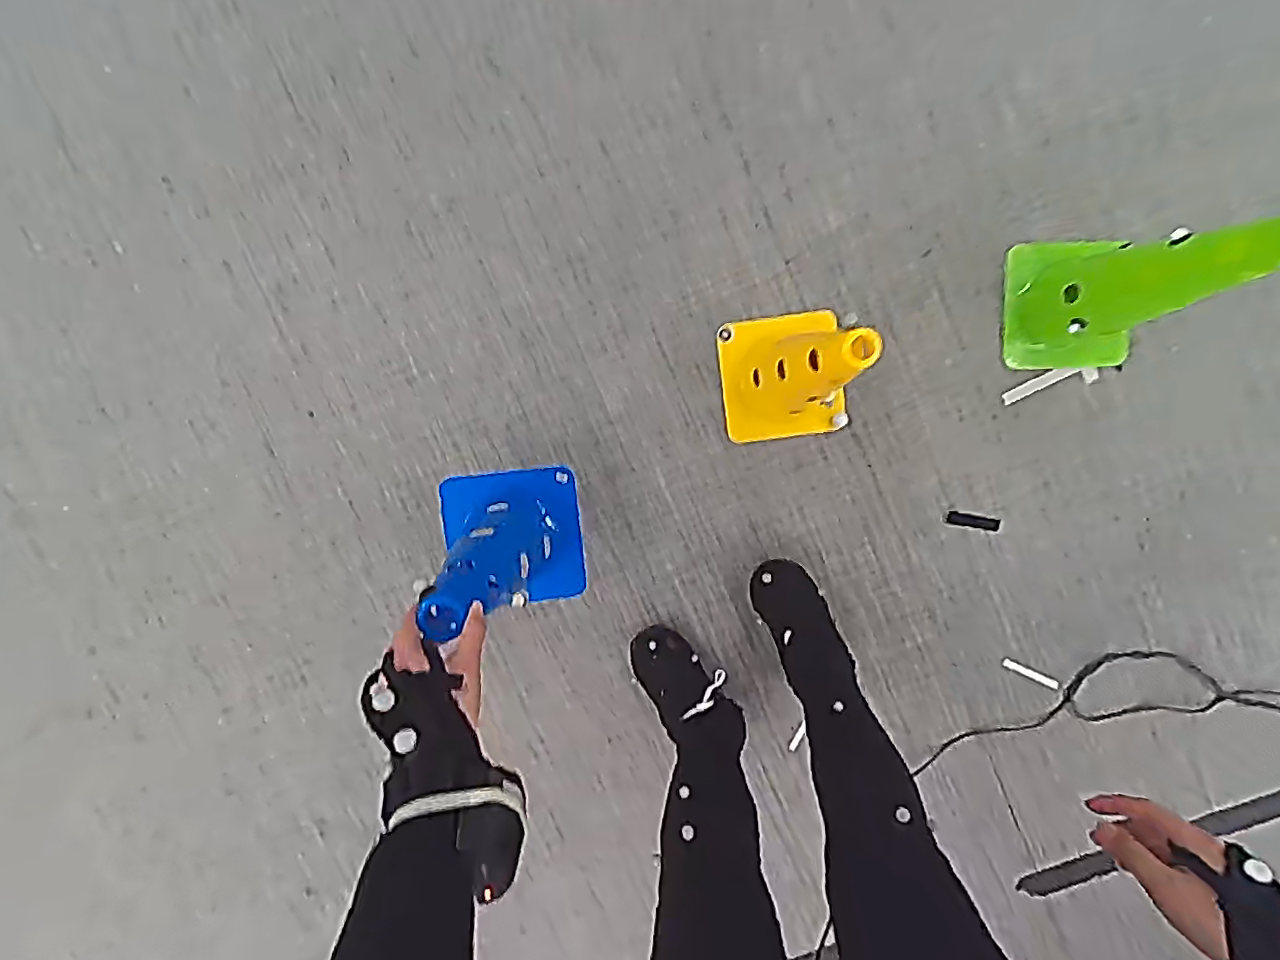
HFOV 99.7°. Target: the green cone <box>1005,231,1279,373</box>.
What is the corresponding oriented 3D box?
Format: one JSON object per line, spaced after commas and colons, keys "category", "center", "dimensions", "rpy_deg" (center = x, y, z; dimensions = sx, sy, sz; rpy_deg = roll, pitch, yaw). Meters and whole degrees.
{"category": "green cone", "center": [0.692, -0.261, 0.711], "dimensions": [0.200, 0.368, 0.202], "rpy_deg": [-2, 96, 2]}
